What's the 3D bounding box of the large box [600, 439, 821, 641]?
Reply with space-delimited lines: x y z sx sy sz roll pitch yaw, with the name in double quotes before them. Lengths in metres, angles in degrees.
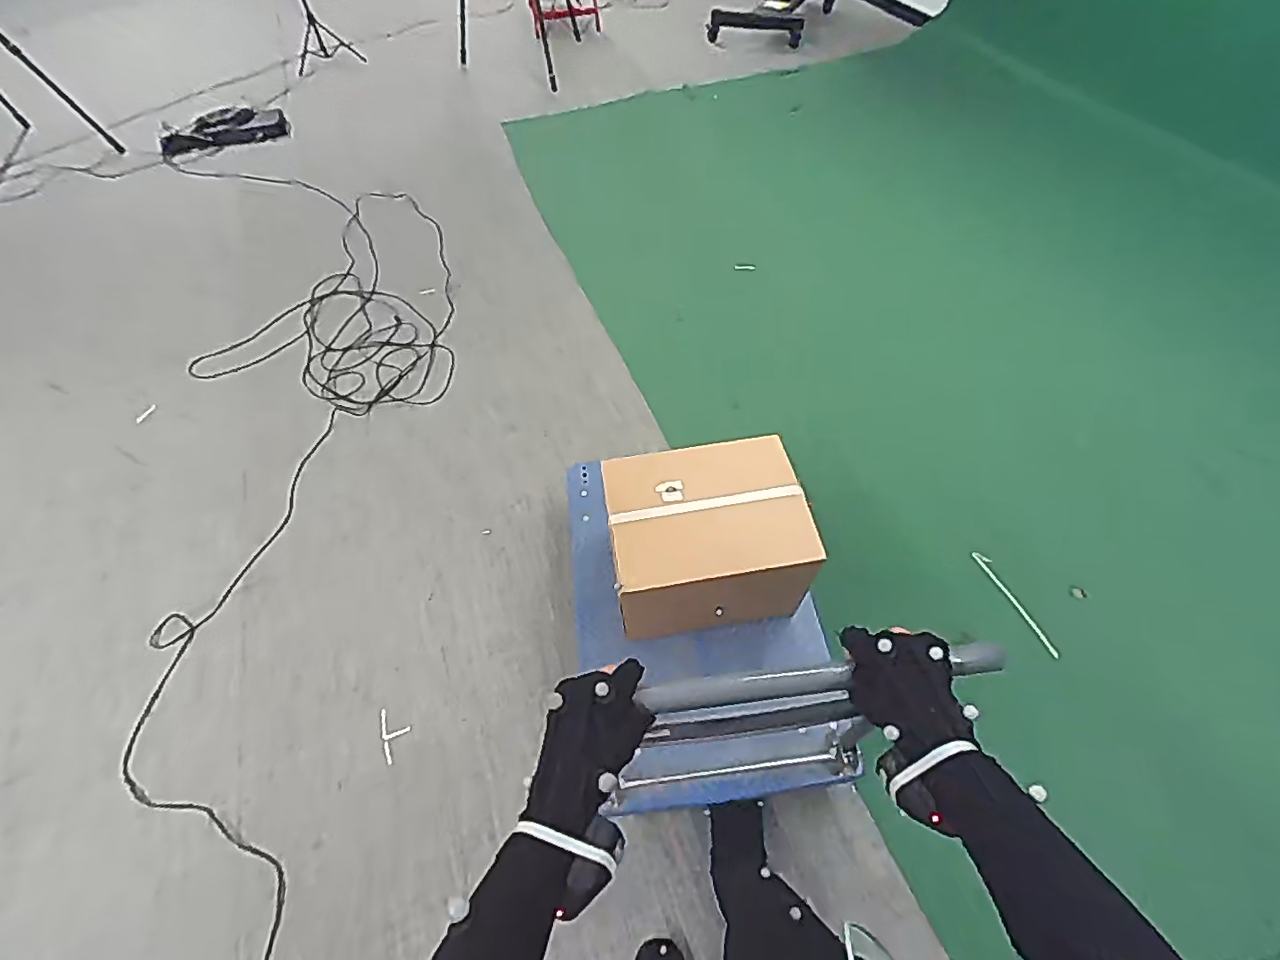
"large box" 0.139 0.145 1.239 0.408 0.320 0.320 -9 56 -4
